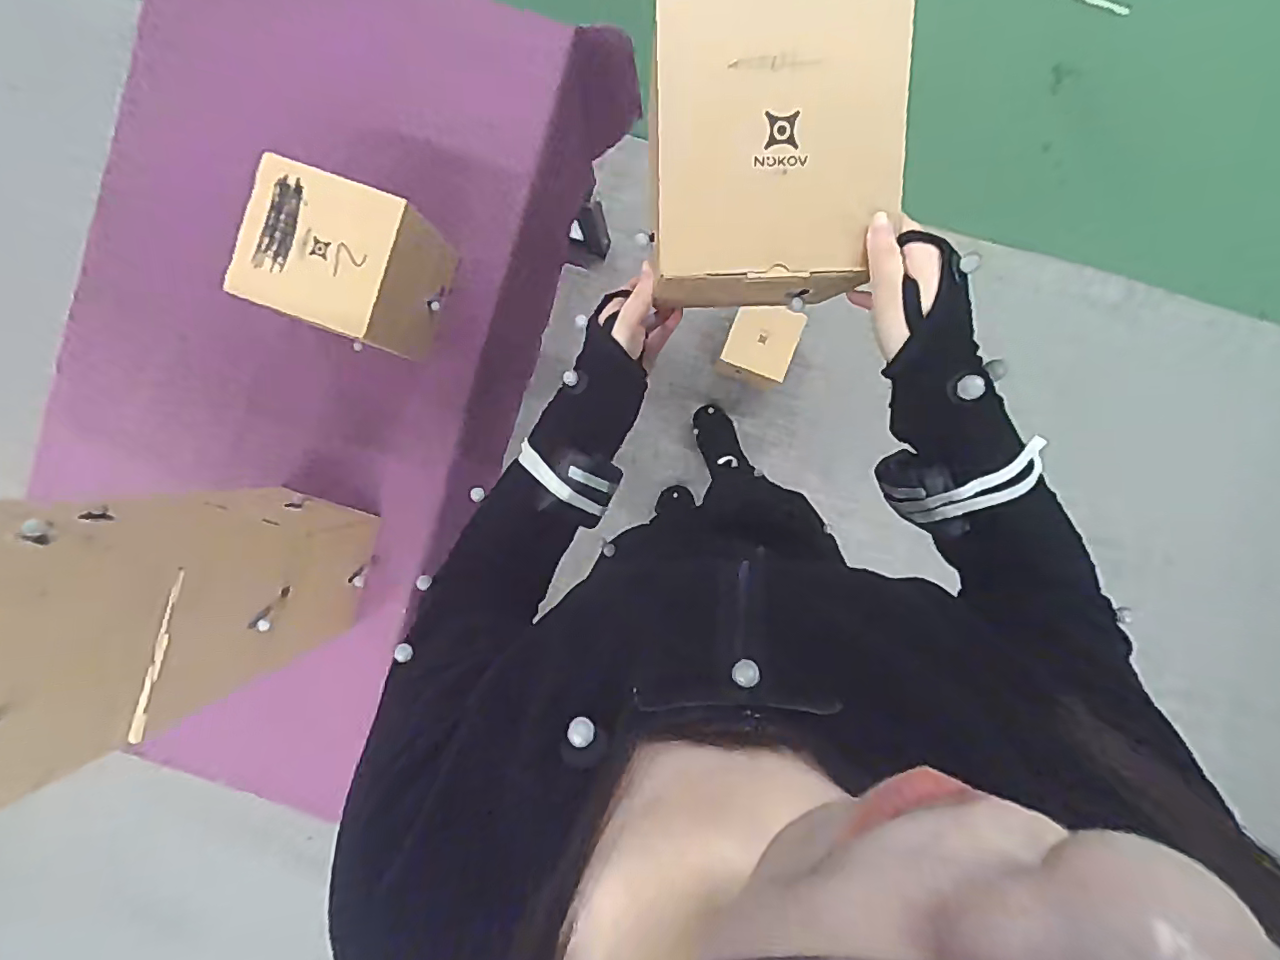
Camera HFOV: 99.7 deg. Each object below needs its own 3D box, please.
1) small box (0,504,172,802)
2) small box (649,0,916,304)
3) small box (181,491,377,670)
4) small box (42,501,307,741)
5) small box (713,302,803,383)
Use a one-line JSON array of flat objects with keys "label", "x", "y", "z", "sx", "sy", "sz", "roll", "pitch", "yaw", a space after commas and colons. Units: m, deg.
[{"label": "small box", "x": -0.497, "y": 0.127, "z": 0.388, "sx": 0.168, "sy": 0.176, "sz": 0.179, "roll": 19, "pitch": 93, "yaw": 1}, {"label": "small box", "x": 0.094, "y": -0.241, "z": 0.439, "sx": 0.168, "sy": 0.176, "sz": 0.179, "roll": -1, "pitch": 101, "yaw": -1}, {"label": "small box", "x": -0.480, "y": 0.118, "z": 0.718, "sx": 0.168, "sy": 0.176, "sz": 0.179, "roll": 16, "pitch": 93, "yaw": 2}, {"label": "small box", "x": -0.491, "y": 0.124, "z": 0.553, "sx": 0.179, "sy": 0.176, "sz": 0.168, "roll": 17, "pitch": 94, "yaw": 1}, {"label": "small box", "x": 0.295, "y": -0.363, "z": 1.397, "sx": 0.168, "sy": 0.176, "sz": 0.179, "roll": 20, "pitch": 93, "yaw": 0}]
